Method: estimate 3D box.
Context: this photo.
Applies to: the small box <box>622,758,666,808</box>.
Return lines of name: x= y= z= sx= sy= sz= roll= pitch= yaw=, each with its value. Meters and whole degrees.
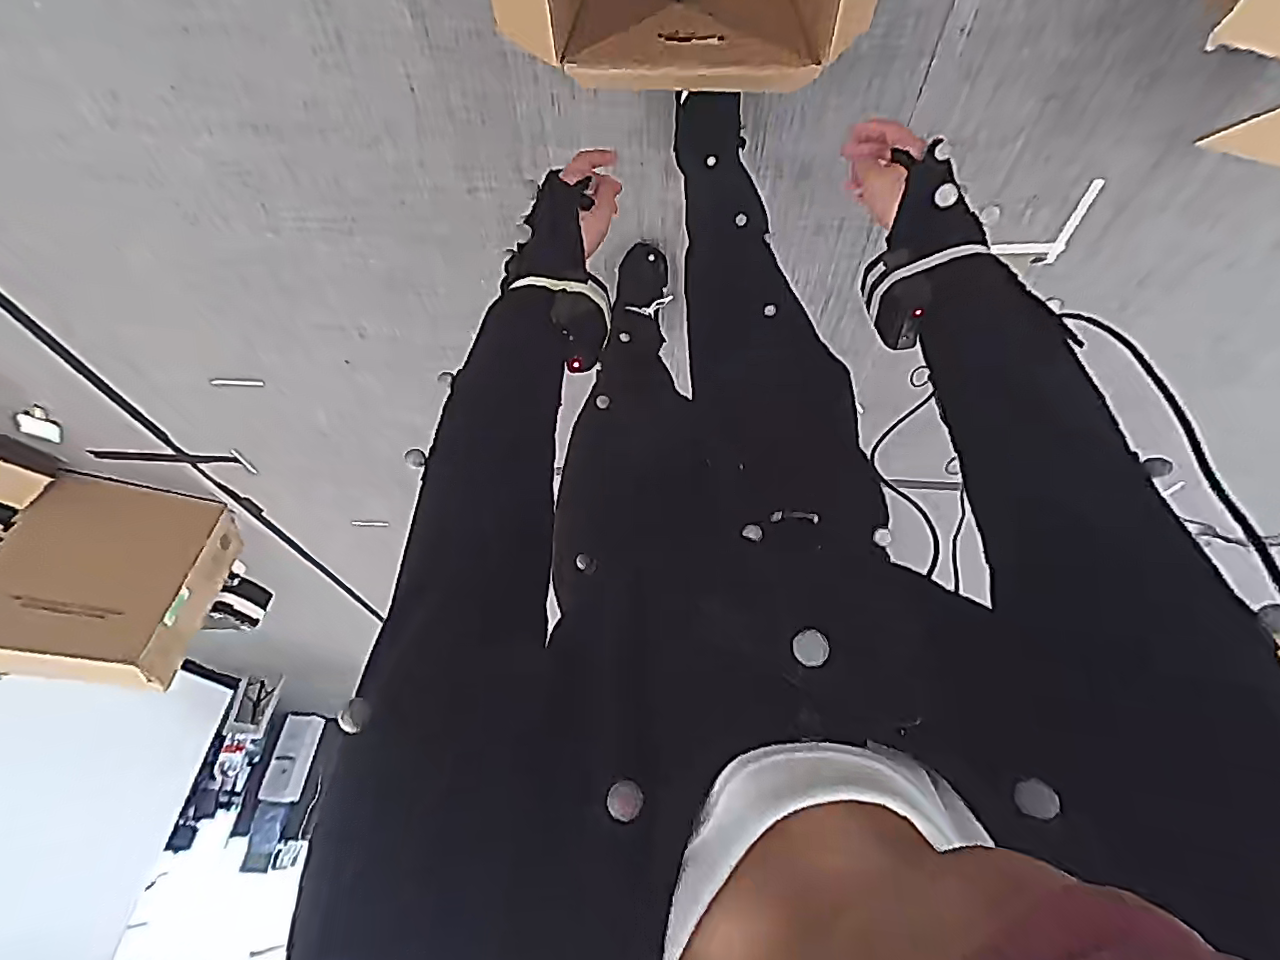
small box: x=0.019 y=1.292 z=2.310 sx=0.179 sy=0.176 sz=0.168 roll=1 pitch=145 yaw=2
